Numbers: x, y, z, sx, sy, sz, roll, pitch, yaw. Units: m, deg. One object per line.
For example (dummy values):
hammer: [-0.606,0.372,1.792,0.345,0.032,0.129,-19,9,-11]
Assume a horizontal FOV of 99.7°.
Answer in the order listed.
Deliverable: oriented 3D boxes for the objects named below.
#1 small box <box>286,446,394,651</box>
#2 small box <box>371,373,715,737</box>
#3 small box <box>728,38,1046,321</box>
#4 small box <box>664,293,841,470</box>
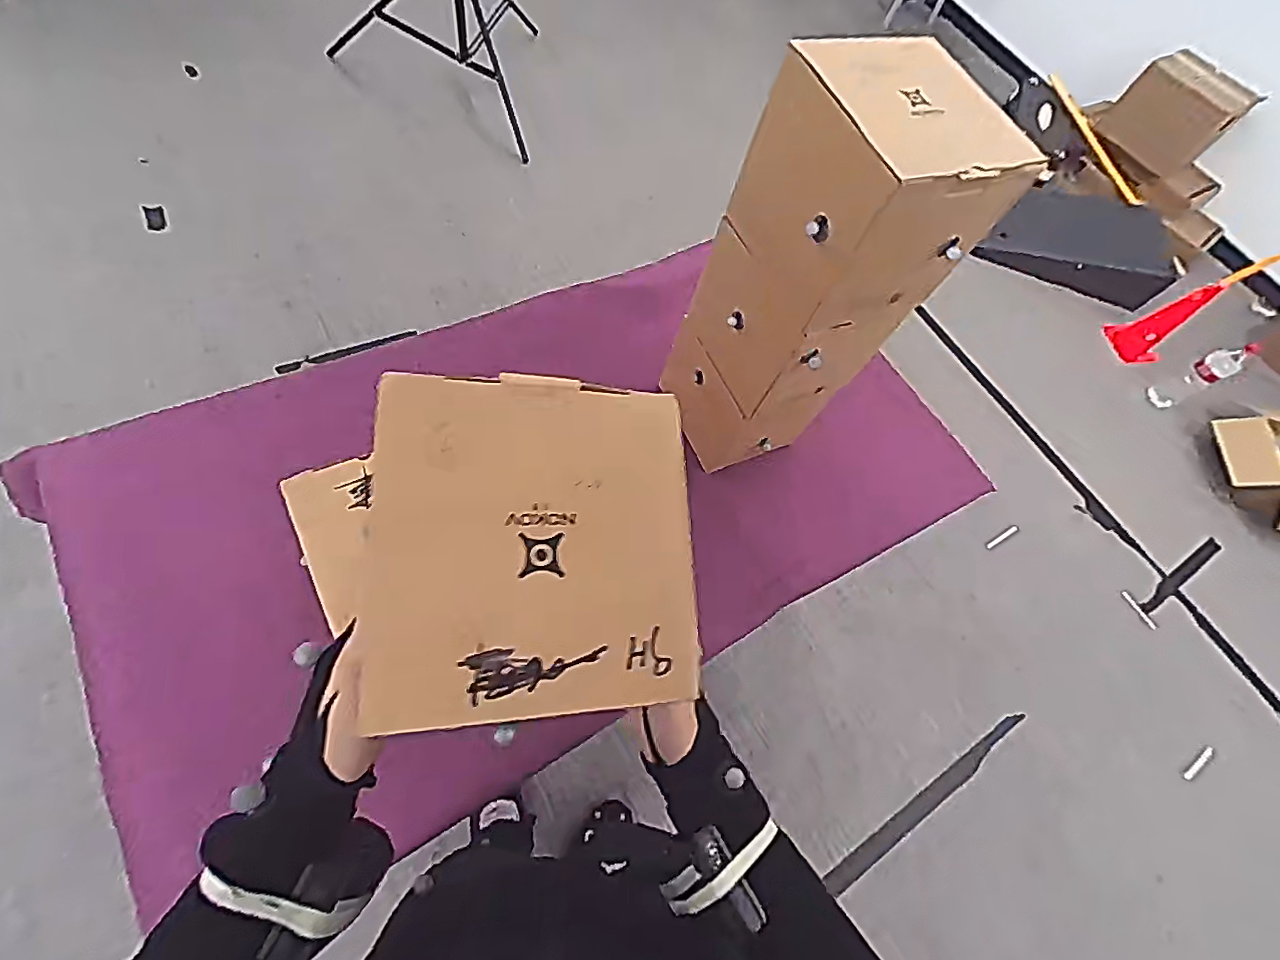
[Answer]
small box: [-0.264,0.080,0.618,0.168,0.176,0.179,-23,73,-20]
small box: [-0.067,0.052,0.351,0.168,0.176,0.179,1,75,-17]
small box: [0.210,-0.272,0.511,0.168,0.176,0.179,-18,69,-19]
small box: [0.153,-0.142,0.805,0.168,0.176,0.179,-20,71,-18]
